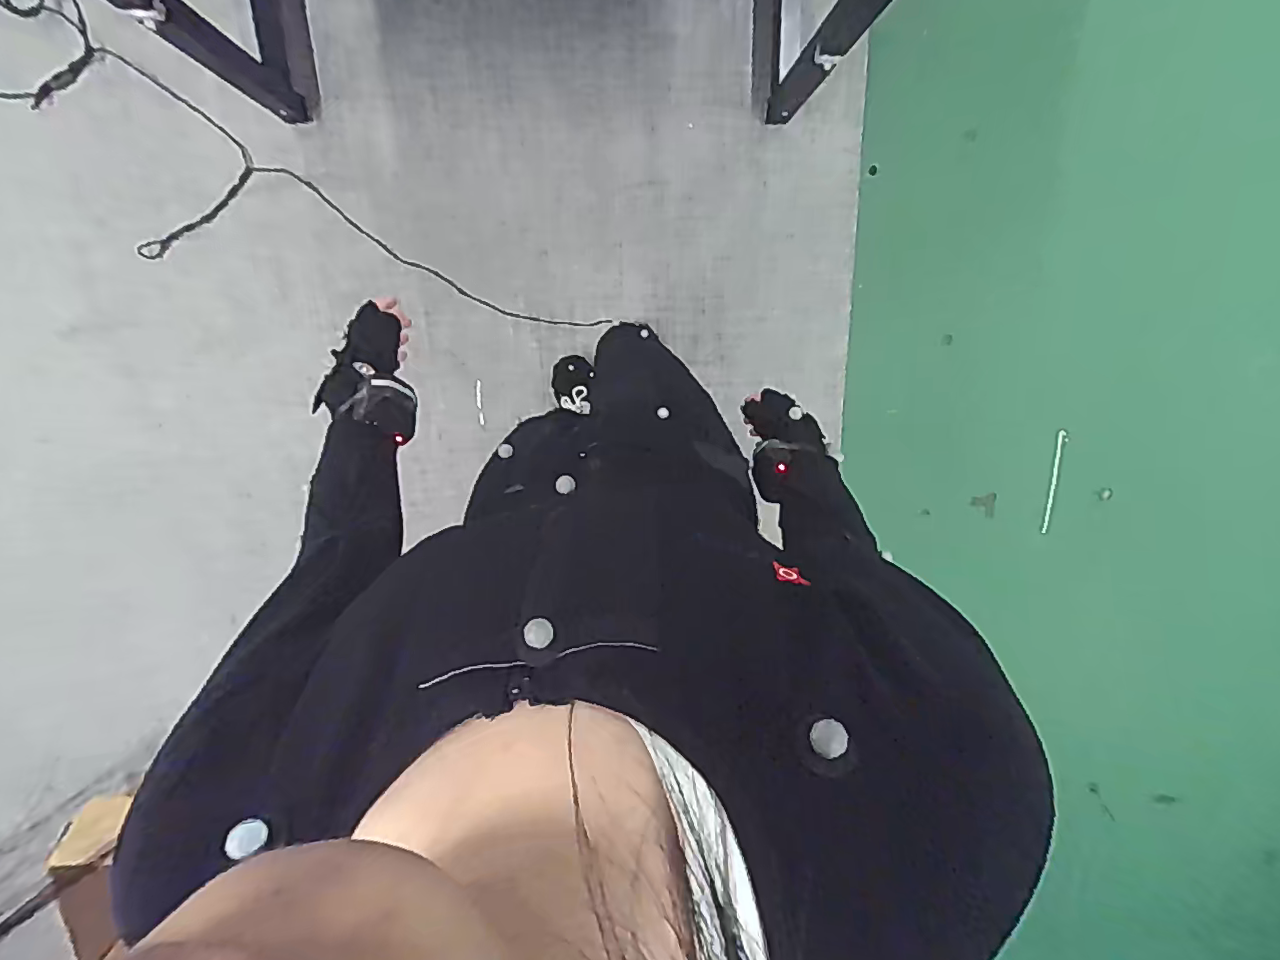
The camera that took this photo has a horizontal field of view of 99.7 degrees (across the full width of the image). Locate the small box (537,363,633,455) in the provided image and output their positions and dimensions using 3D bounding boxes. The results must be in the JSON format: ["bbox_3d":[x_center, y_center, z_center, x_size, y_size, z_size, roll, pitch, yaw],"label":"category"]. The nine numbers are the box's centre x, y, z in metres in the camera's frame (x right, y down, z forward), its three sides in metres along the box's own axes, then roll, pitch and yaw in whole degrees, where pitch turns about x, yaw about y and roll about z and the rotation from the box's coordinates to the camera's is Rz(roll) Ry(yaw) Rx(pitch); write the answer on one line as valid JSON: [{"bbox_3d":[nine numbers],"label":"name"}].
[{"bbox_3d":[-0.145,-0.185,1.385,0.179,0.176,0.168,28,113,8],"label":"small box"}]
